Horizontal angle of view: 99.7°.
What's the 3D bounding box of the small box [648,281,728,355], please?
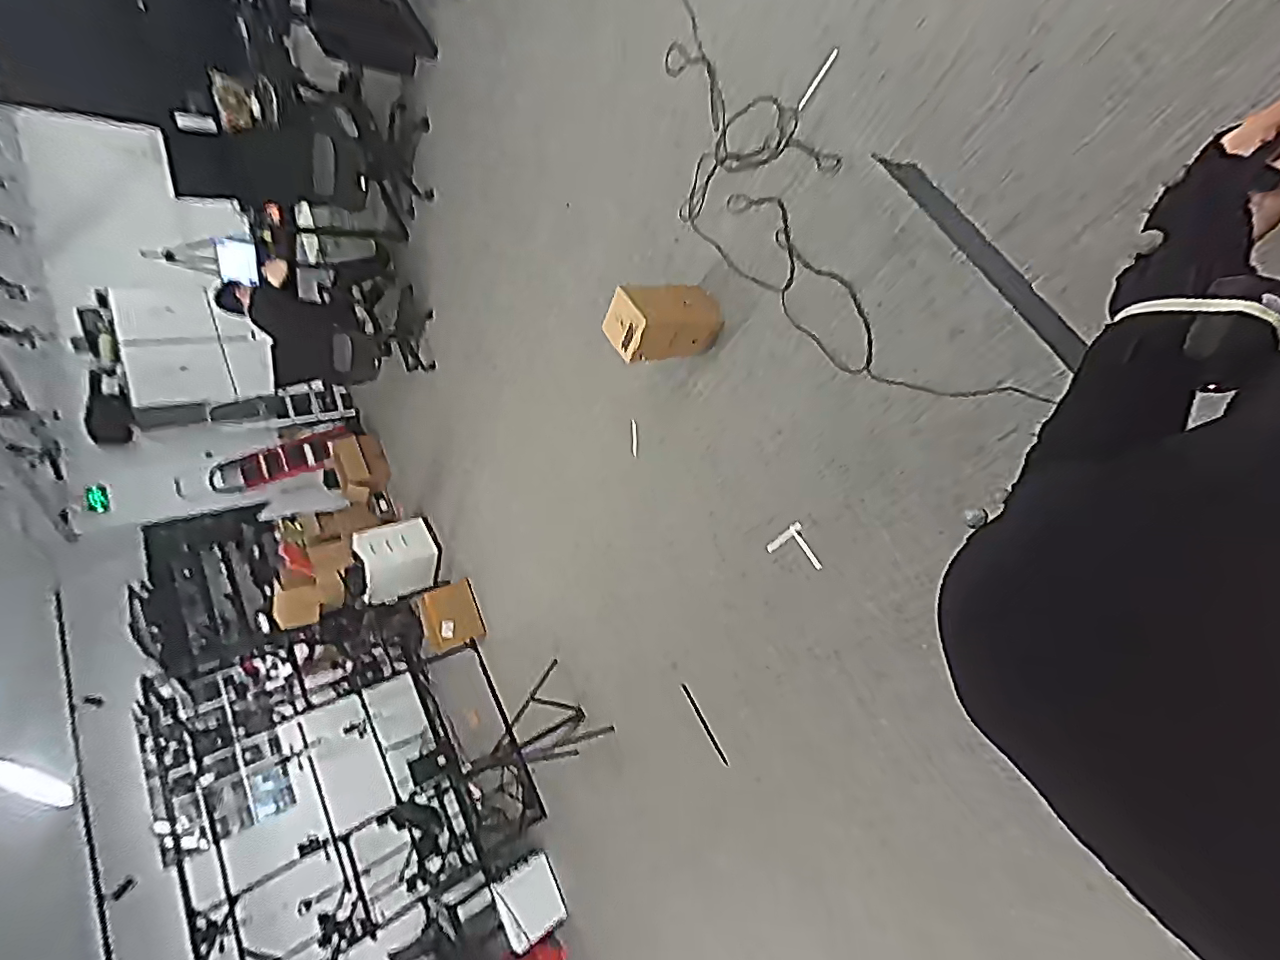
[{"bbox_3d":[0.162,-0.545,1.809,0.179,0.176,0.168,60,141,19],"label":"small box"}]
